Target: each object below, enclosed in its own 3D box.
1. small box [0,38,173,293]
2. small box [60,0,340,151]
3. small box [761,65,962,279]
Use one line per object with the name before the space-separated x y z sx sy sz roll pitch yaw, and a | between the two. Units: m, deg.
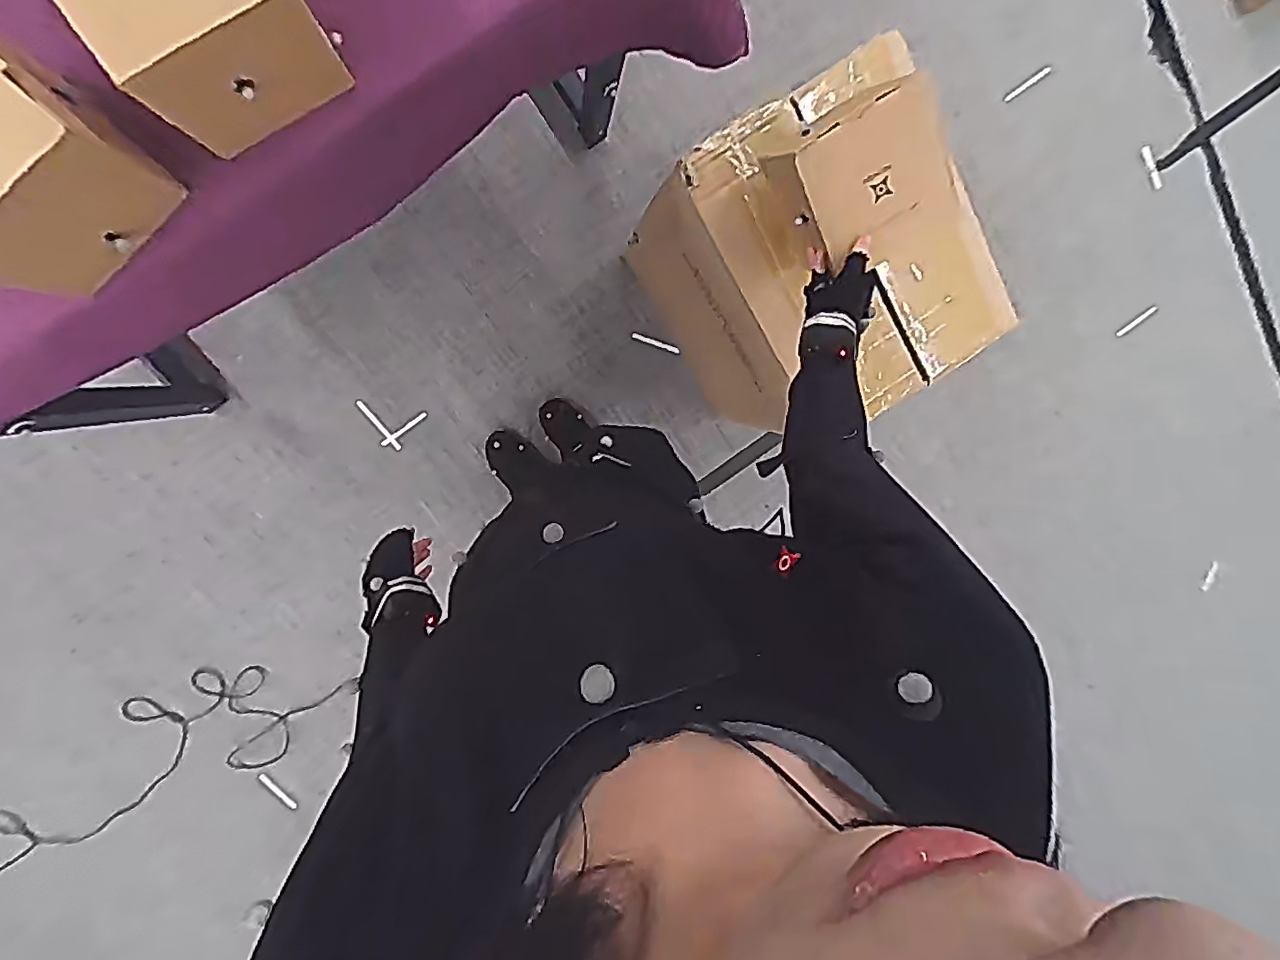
small box | -0.617 -0.312 0.525 0.168 0.176 0.179 44 89 -13
small box | -0.430 -0.469 0.529 0.179 0.176 0.168 -32 103 -2
small box | 0.284 -0.399 0.724 0.168 0.176 0.179 -30 116 12
